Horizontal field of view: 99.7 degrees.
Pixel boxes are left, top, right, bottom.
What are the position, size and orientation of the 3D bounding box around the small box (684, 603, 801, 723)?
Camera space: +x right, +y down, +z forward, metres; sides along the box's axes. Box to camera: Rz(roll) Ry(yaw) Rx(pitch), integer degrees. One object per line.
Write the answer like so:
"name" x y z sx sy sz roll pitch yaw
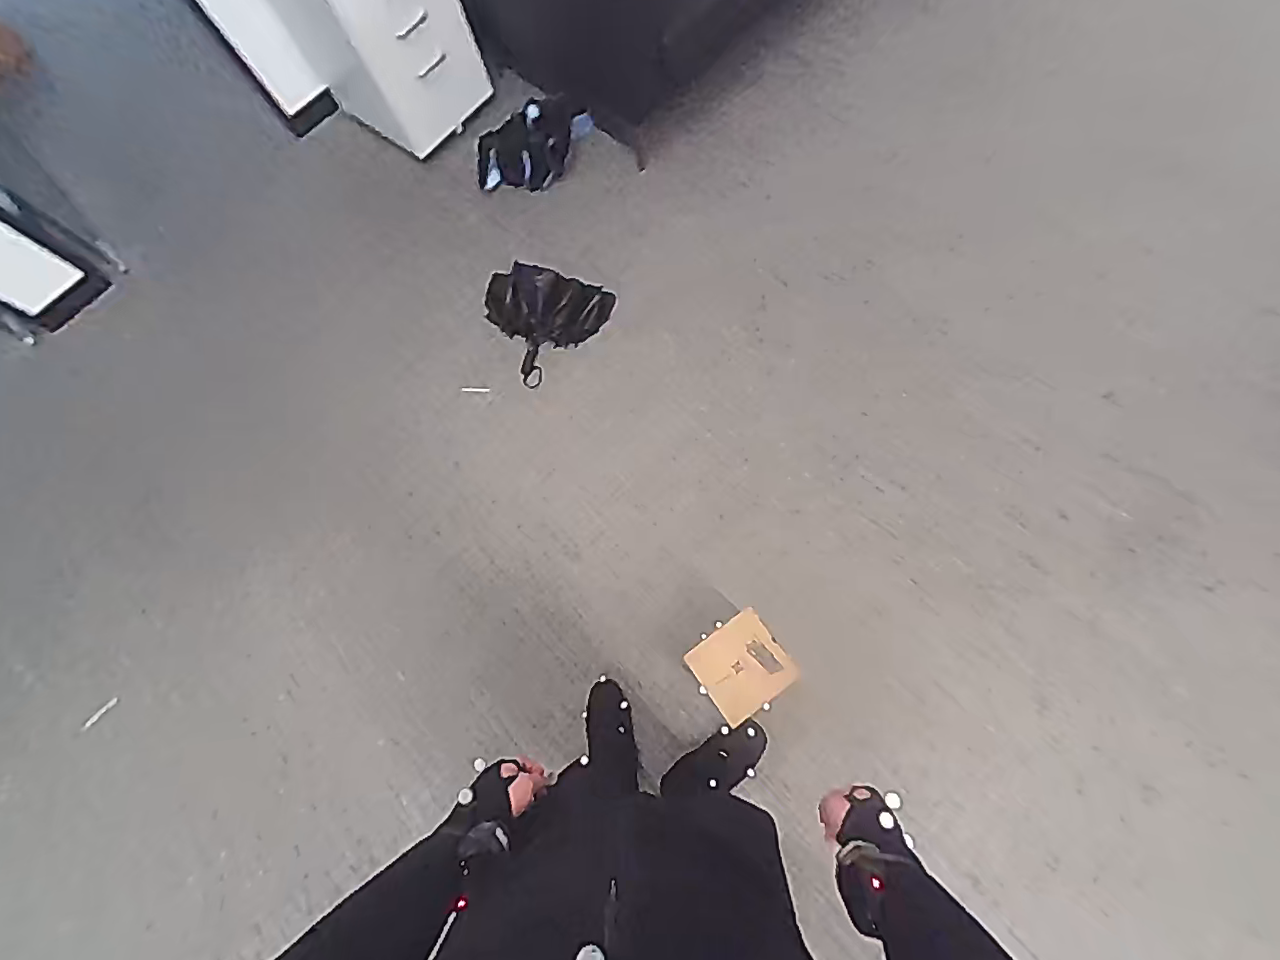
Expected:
"small box" 0.212 0.381 1.145 0.179 0.176 0.168 -36 70 -3
